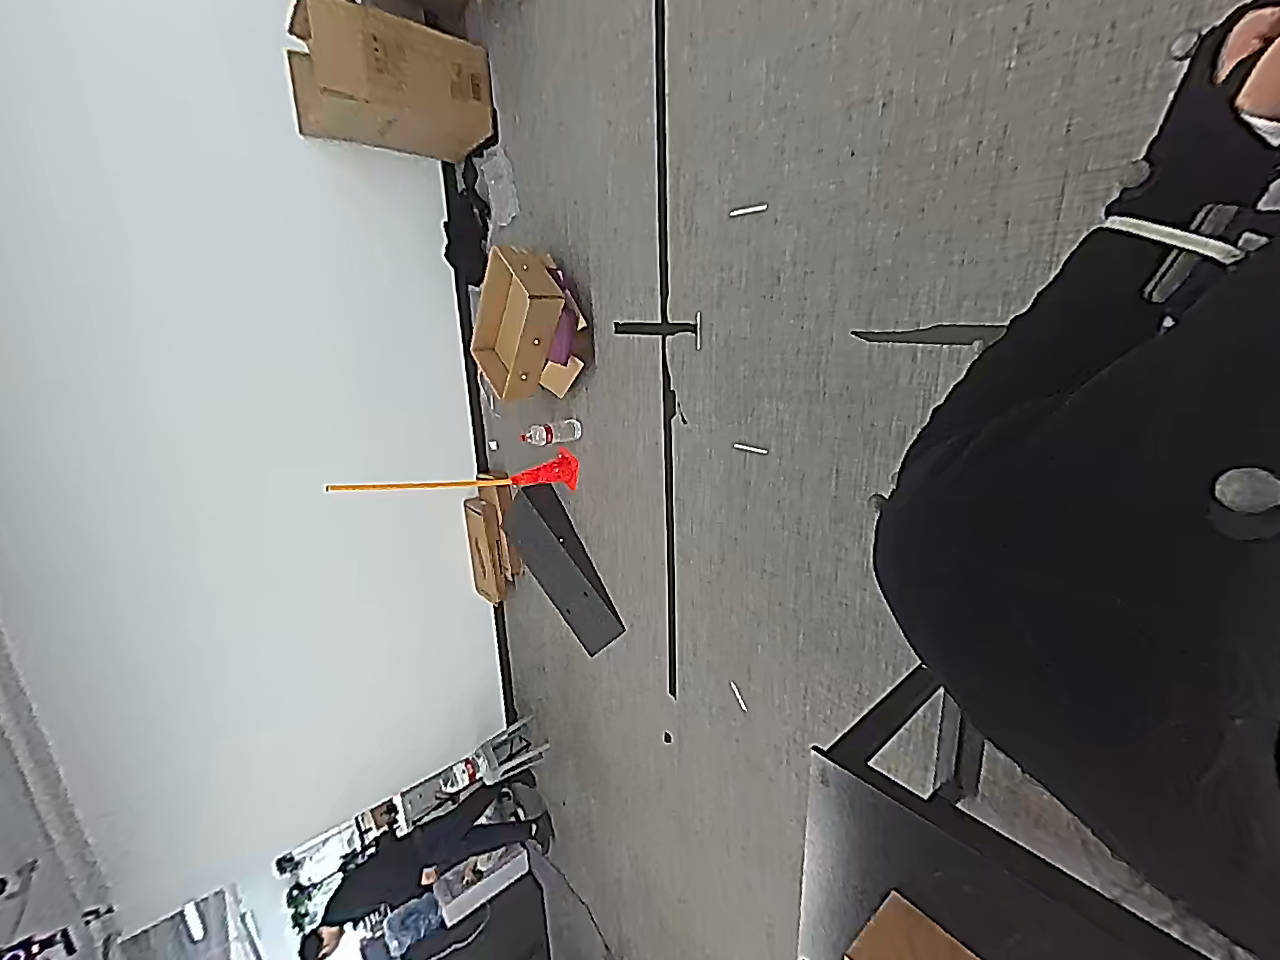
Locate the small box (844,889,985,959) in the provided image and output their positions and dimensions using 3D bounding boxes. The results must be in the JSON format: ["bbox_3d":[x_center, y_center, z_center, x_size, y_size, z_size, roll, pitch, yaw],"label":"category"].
[{"bbox_3d":[0.460,0.850,0.905,0.179,0.176,0.168,21,118,48],"label":"small box"}]
